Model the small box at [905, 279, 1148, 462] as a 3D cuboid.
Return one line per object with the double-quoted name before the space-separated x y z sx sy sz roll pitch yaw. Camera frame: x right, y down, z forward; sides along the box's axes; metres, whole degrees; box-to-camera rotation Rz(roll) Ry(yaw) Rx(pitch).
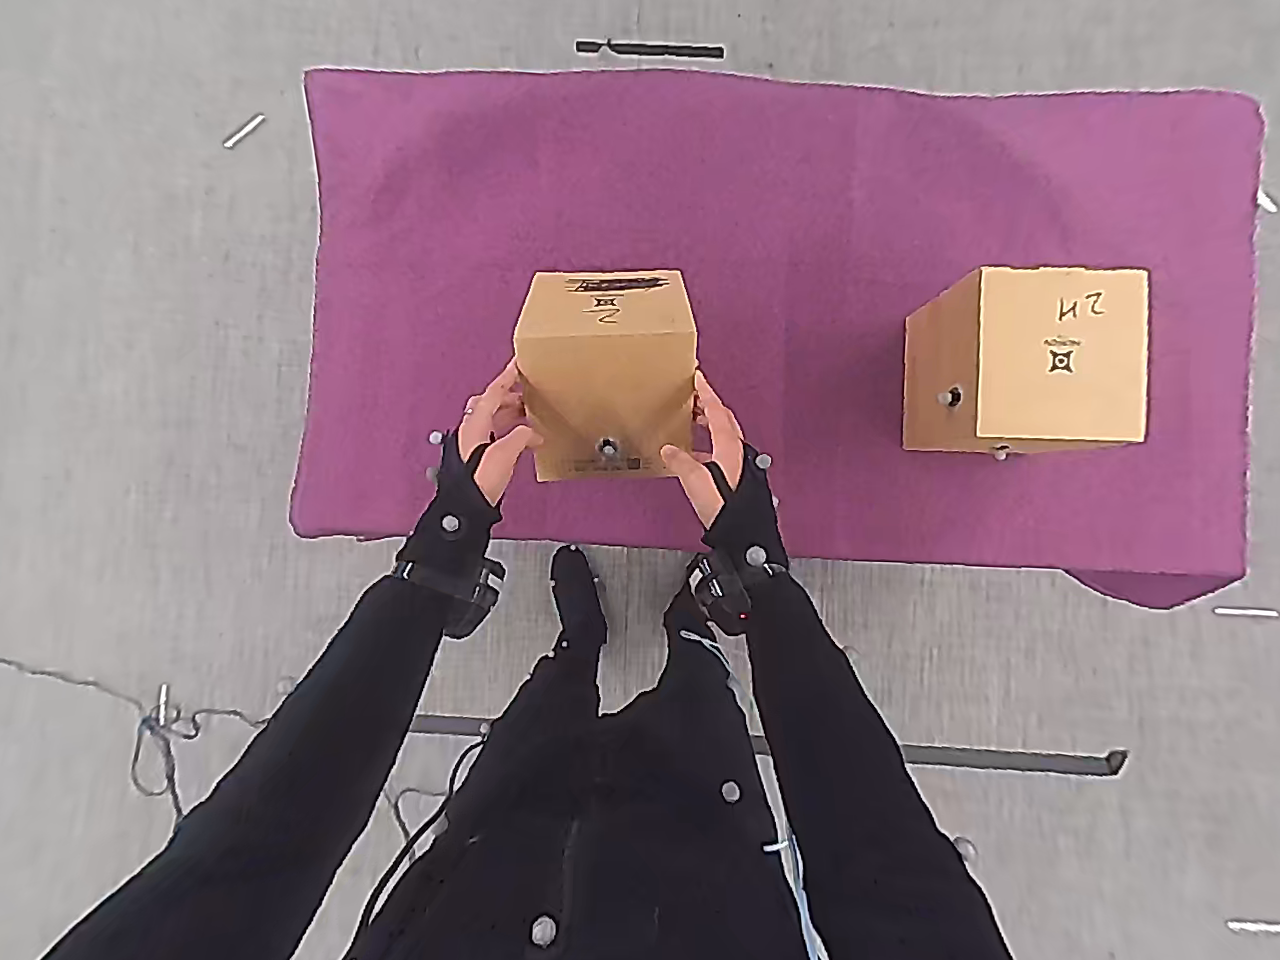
"small box" 0.426 -0.113 0.625 0.168 0.176 0.179 3 89 2
